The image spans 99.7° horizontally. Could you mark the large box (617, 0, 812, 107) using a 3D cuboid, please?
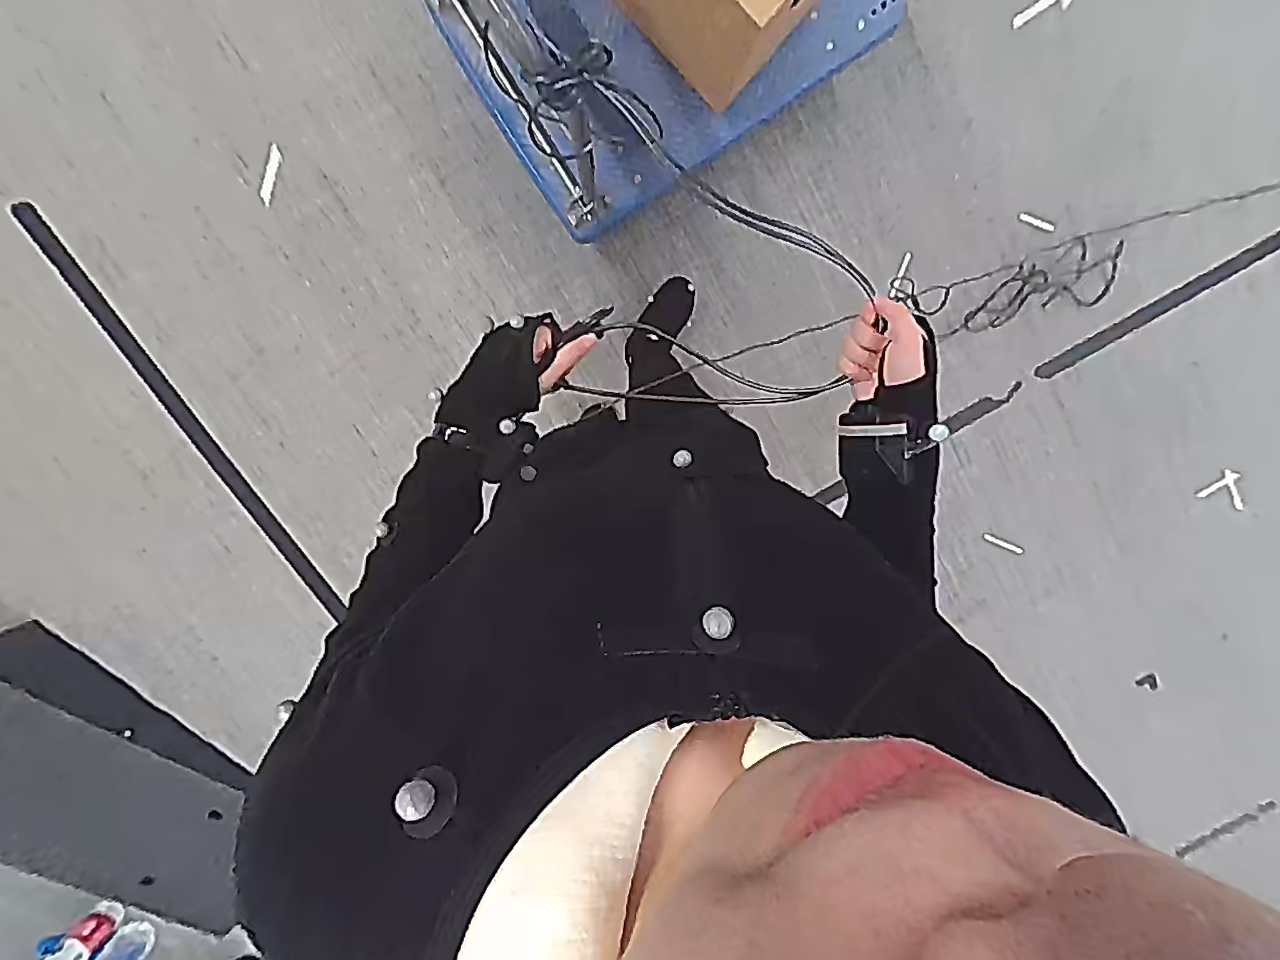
[{"bbox_3d":[0.137,-1.004,0.969,0.408,0.320,0.320,41,96,-12],"label":"large box"}]
